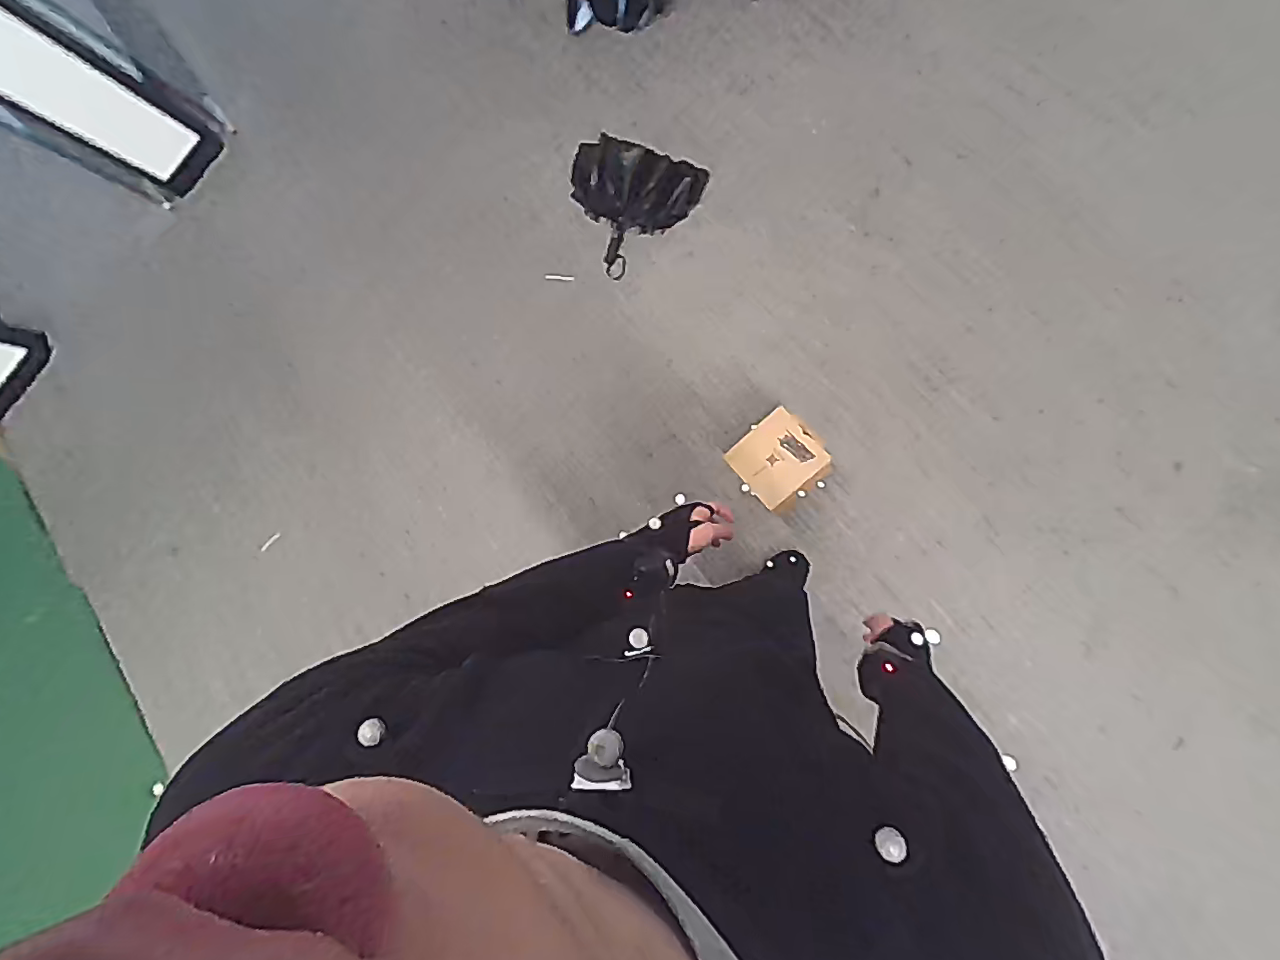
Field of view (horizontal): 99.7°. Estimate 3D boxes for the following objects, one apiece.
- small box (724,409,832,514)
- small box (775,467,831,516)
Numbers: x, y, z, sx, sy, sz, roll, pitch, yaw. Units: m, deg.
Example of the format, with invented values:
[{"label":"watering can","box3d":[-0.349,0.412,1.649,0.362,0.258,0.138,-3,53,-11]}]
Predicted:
[{"label":"small box","box3d":[0.322,-0.037,1.270,0.179,0.176,0.168,-42,75,10]},{"label":"small box","box3d":[0.377,-0.021,1.425,0.179,0.176,0.168,-43,74,10]}]
